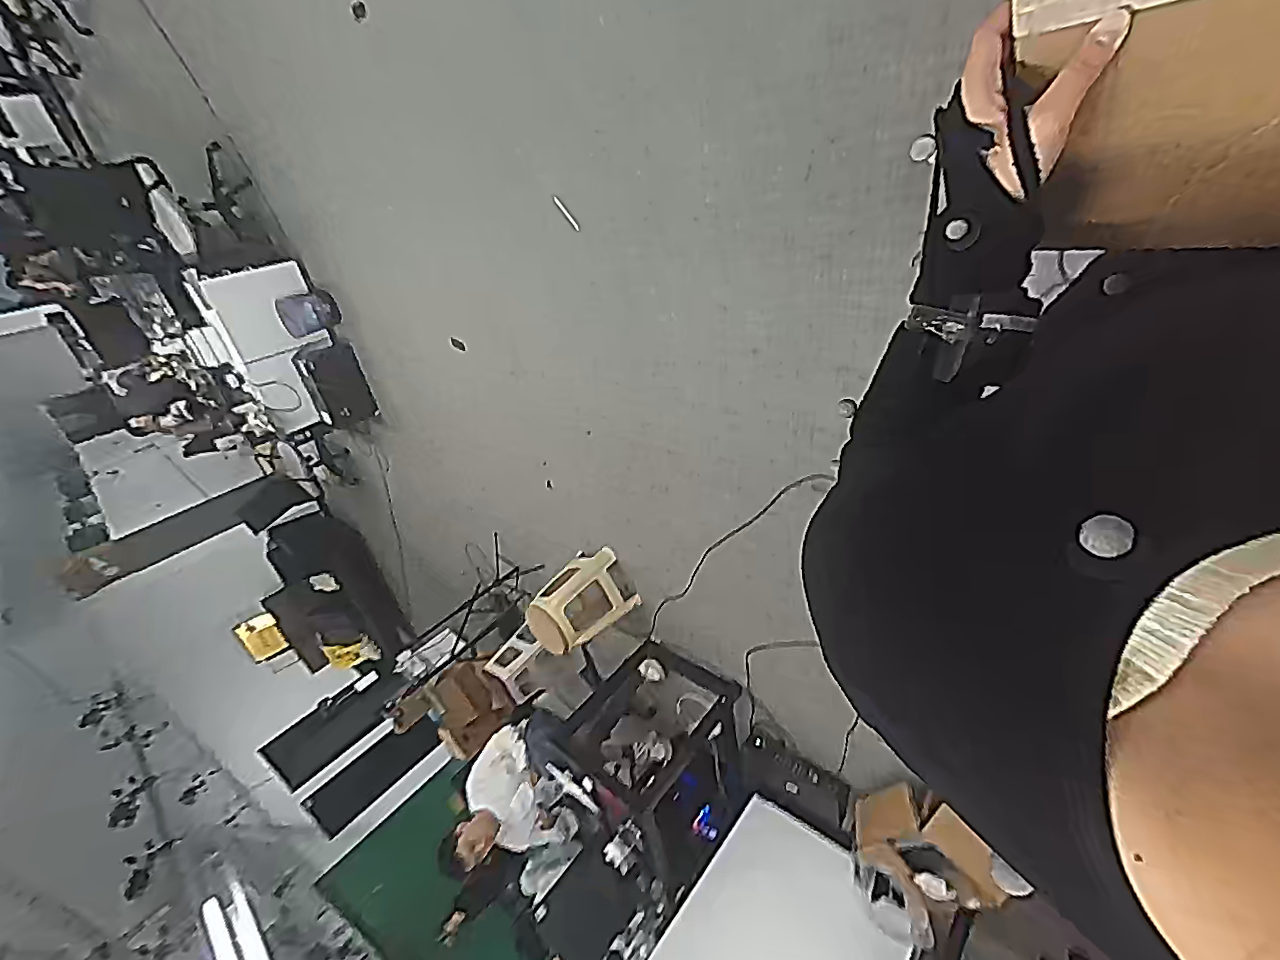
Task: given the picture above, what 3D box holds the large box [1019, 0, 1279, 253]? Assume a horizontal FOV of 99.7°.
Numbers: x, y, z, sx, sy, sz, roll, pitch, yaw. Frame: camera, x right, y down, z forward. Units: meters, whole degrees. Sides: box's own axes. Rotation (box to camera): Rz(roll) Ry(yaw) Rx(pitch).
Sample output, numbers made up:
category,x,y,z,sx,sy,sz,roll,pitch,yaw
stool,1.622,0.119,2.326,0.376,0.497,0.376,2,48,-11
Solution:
category,x,y,z,sx,sy,sz,roll,pitch,yaw
large box,0.451,-0.339,0.240,0.408,0.320,0.320,18,155,41
